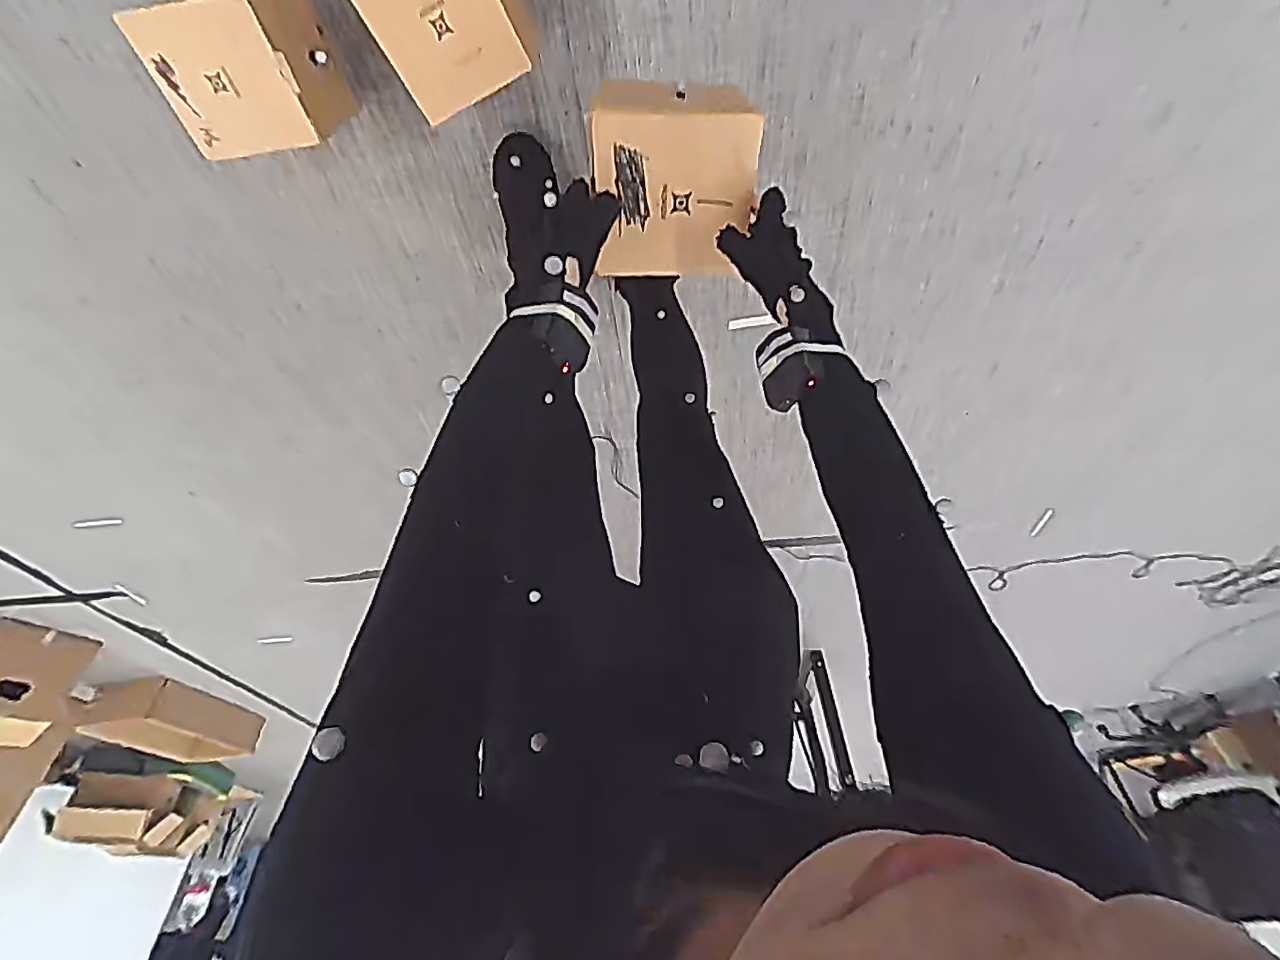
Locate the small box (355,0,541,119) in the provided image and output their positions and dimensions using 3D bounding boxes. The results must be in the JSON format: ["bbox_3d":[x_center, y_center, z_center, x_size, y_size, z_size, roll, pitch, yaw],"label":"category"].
[{"bbox_3d":[-0.248,-0.624,0.708,0.168,0.176,0.179,-18,137,18],"label":"small box"}]

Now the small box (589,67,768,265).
[{"bbox_3d":[0.033,-0.368,0.632,0.179,0.176,0.168,0,134,-3],"label":"small box"}]

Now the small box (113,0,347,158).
[{"bbox_3d":[-0.538,-0.576,0.749,0.179,0.176,0.168,-6,138,4],"label":"small box"}]
